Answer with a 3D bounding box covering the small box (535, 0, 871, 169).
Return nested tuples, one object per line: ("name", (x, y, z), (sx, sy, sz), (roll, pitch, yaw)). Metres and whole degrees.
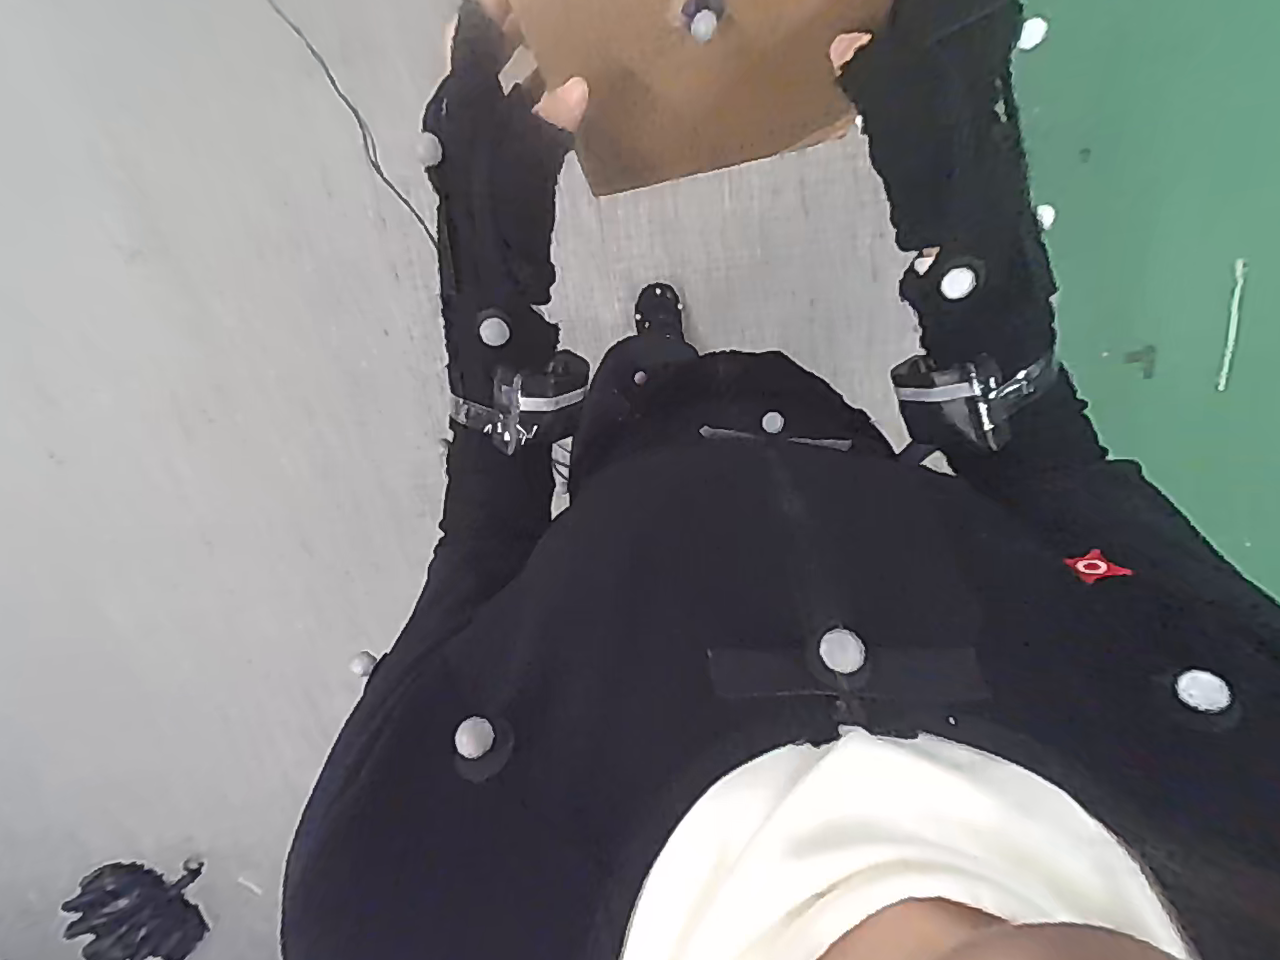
("small box", (0.029, -0.308, 0.298), (0.179, 0.176, 0.168), (-9, 87, 8))
